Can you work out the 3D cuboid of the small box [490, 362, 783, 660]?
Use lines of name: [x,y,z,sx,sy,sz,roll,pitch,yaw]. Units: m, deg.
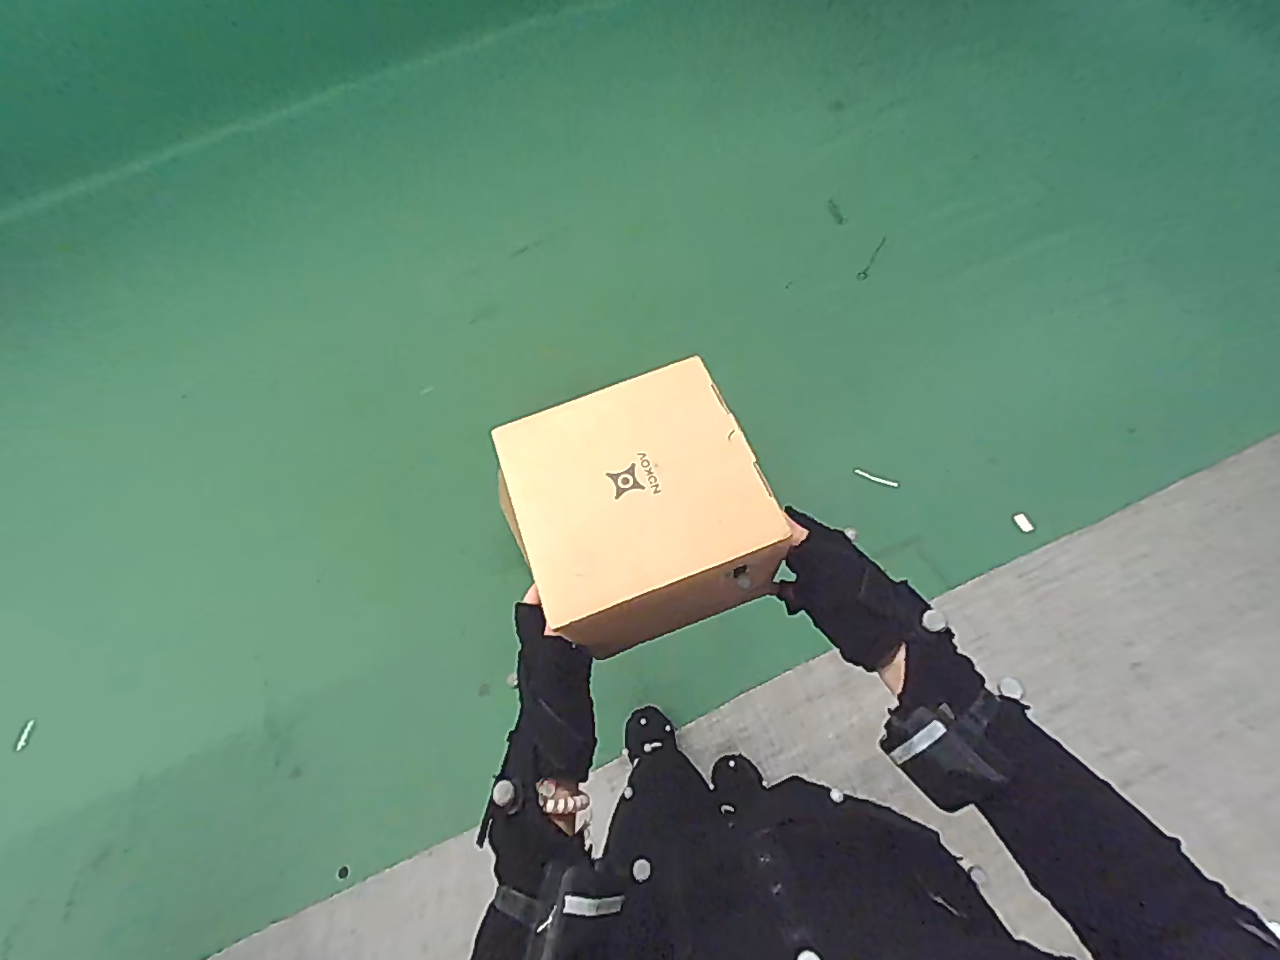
small box: [-0.001,0.037,0.459,0.179,0.176,0.168,-21,64,-4]
